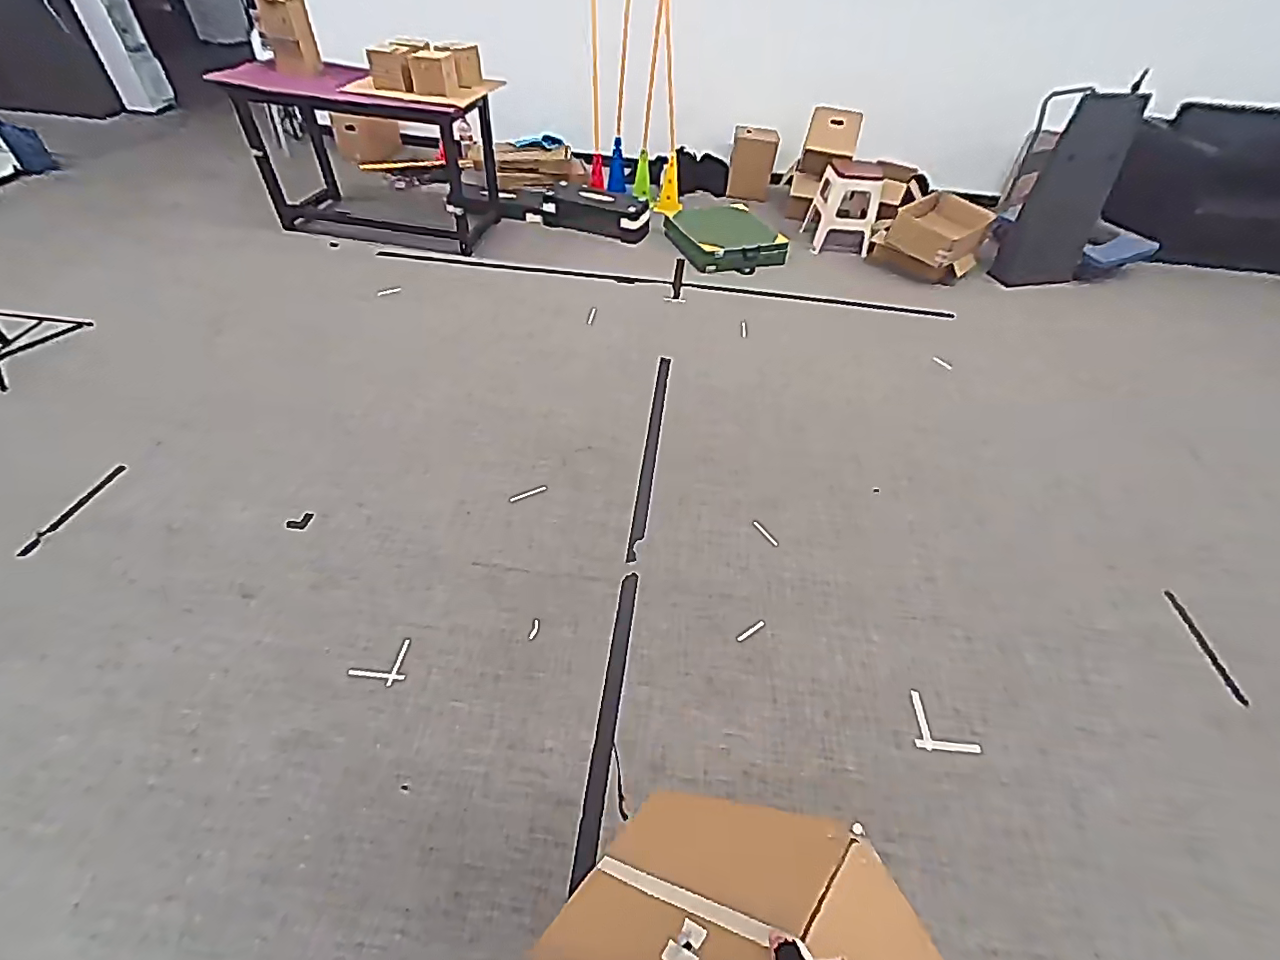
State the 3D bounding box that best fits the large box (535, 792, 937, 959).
[{"bbox_3d":[0.135,0.670,0.694,0.320,0.408,0.320,-33,92,-38],"label":"large box"}]
